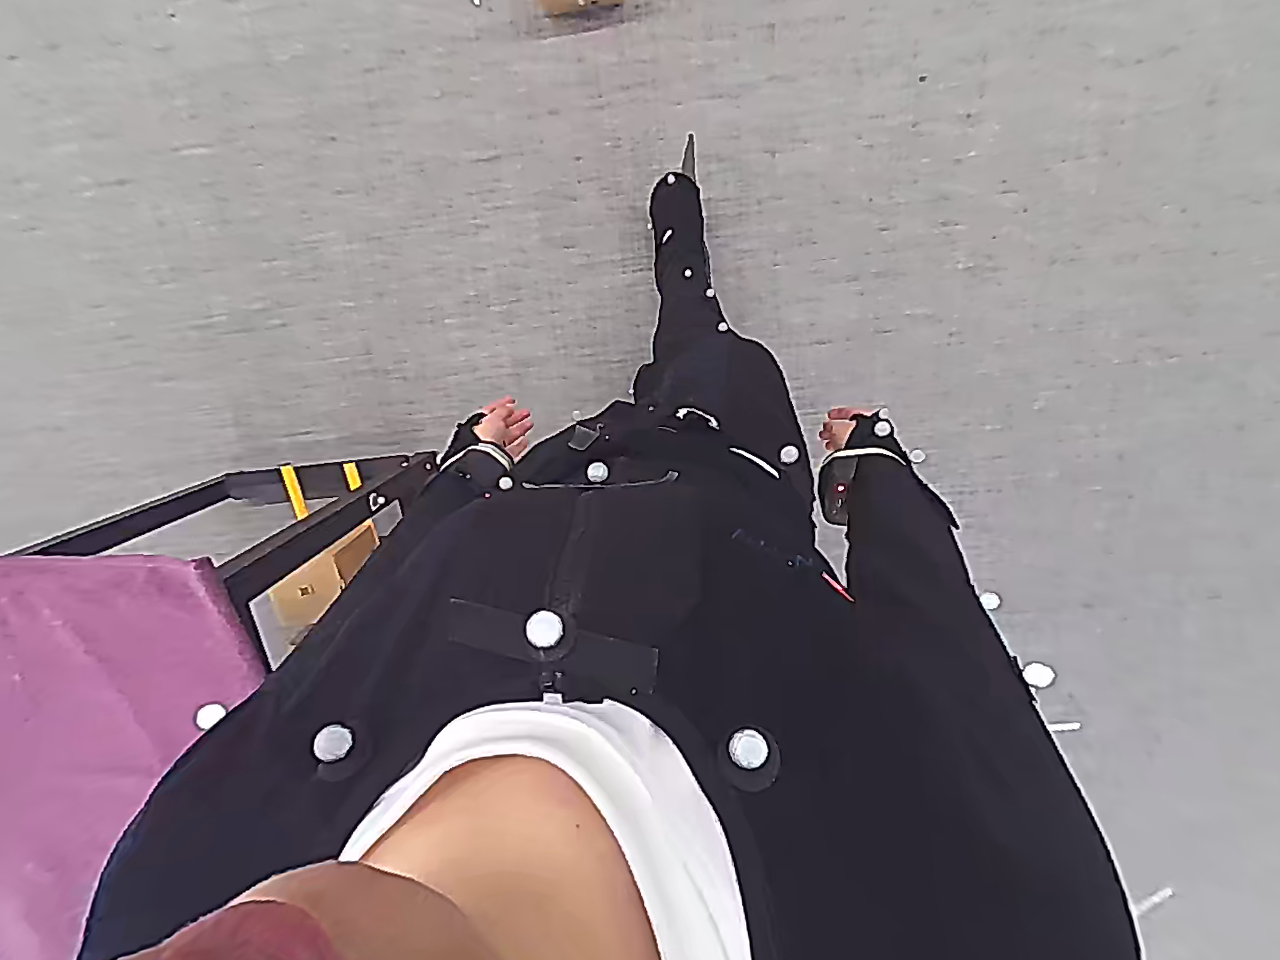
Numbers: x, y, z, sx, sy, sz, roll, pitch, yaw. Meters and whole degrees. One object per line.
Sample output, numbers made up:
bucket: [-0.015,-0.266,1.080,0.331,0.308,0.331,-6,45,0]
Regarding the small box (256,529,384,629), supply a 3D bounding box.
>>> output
small box: [-0.736,0.227,1.264,0.179,0.176,0.168,-7,107,2]
